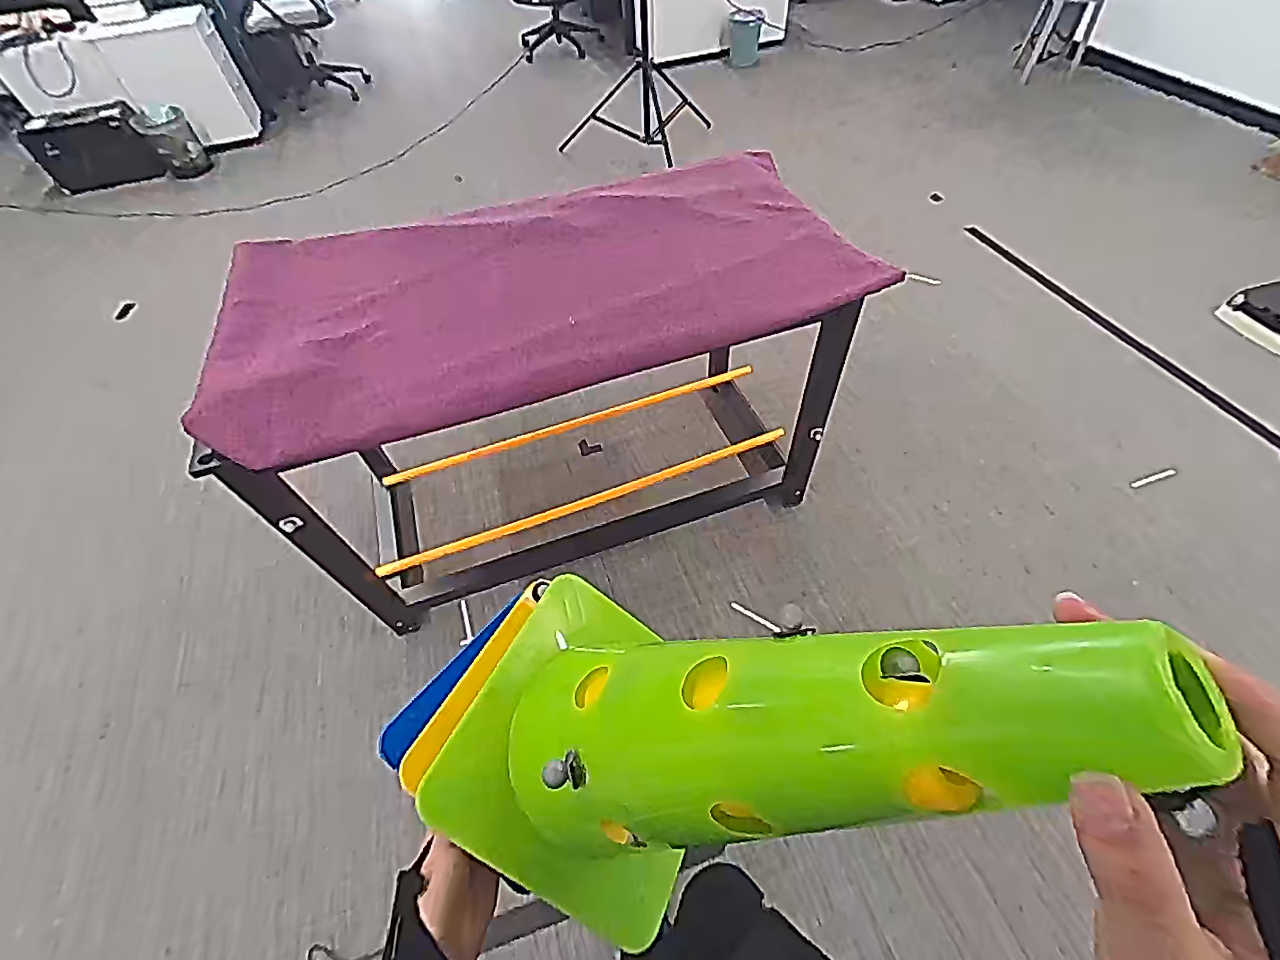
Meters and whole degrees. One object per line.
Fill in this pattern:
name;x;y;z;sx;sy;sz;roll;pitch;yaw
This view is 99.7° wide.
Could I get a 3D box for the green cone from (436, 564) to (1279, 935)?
green cone;0.063;0.120;0.276;0.200;0.368;0.202;39;52;-9
